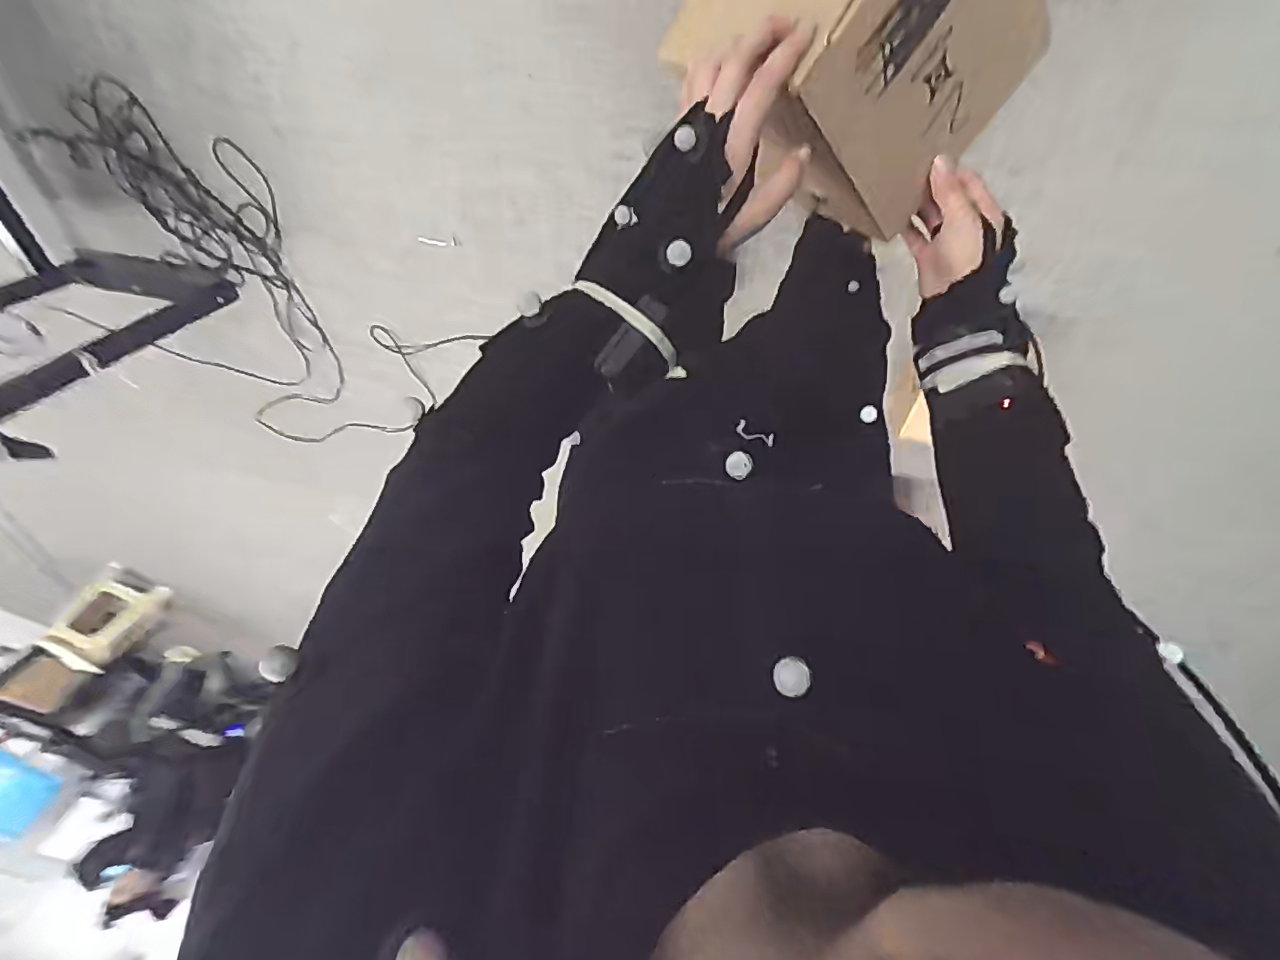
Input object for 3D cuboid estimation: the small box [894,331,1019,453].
[{"bbox_3d":[0.651,-0.188,1.141,0.168,0.176,0.179,13,132,8],"label":"small box"}]
